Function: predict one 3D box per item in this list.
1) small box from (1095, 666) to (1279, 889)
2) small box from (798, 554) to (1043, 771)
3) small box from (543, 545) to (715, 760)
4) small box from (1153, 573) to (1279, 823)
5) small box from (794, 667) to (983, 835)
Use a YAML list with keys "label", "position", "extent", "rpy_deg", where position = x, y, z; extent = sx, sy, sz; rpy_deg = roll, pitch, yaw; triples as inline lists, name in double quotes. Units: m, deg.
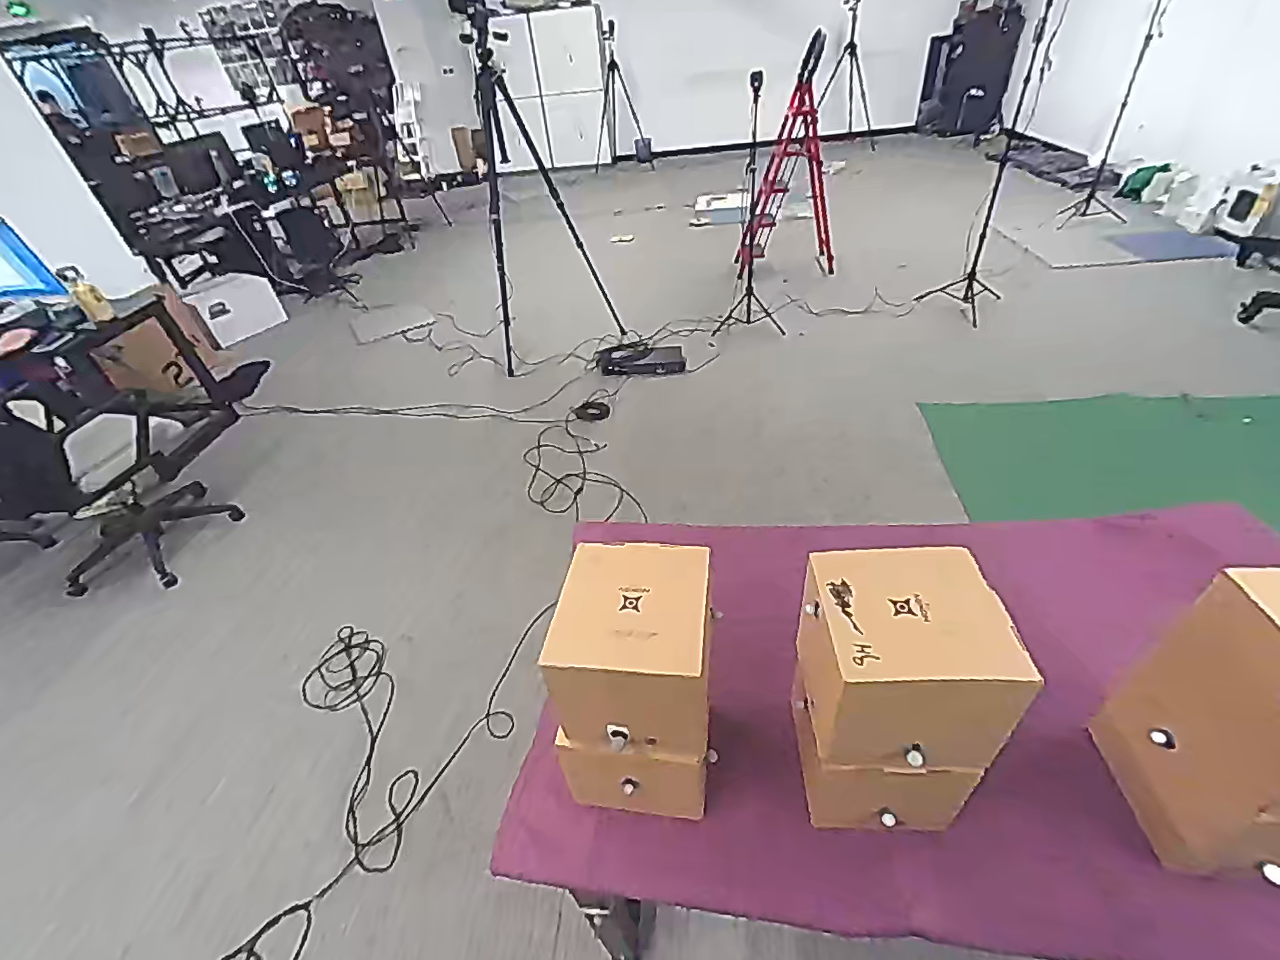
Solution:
- label: "small box"
  position: [0.687, 0.341, 0.626]
  extent: [0.168, 0.176, 0.179]
  rpy_deg: [-1, 39, 8]
- label: "small box"
  position: [0.283, 0.199, 0.596]
  extent: [0.179, 0.176, 0.168]
  rpy_deg: [-1, 37, 5]
- label: "small box"
  position: [0.002, 0.198, 0.639]
  extent: [0.168, 0.176, 0.179]
  rpy_deg: [0, 39, 10]
- label: "small box"
  position: [0.674, 0.212, 0.528]
  extent: [0.168, 0.176, 0.179]
  rpy_deg: [-1, 39, 7]
- label: "small box"
  position: [0.299, 0.326, 0.699]
  extent: [0.168, 0.176, 0.179]
  rpy_deg: [-2, 38, 6]
